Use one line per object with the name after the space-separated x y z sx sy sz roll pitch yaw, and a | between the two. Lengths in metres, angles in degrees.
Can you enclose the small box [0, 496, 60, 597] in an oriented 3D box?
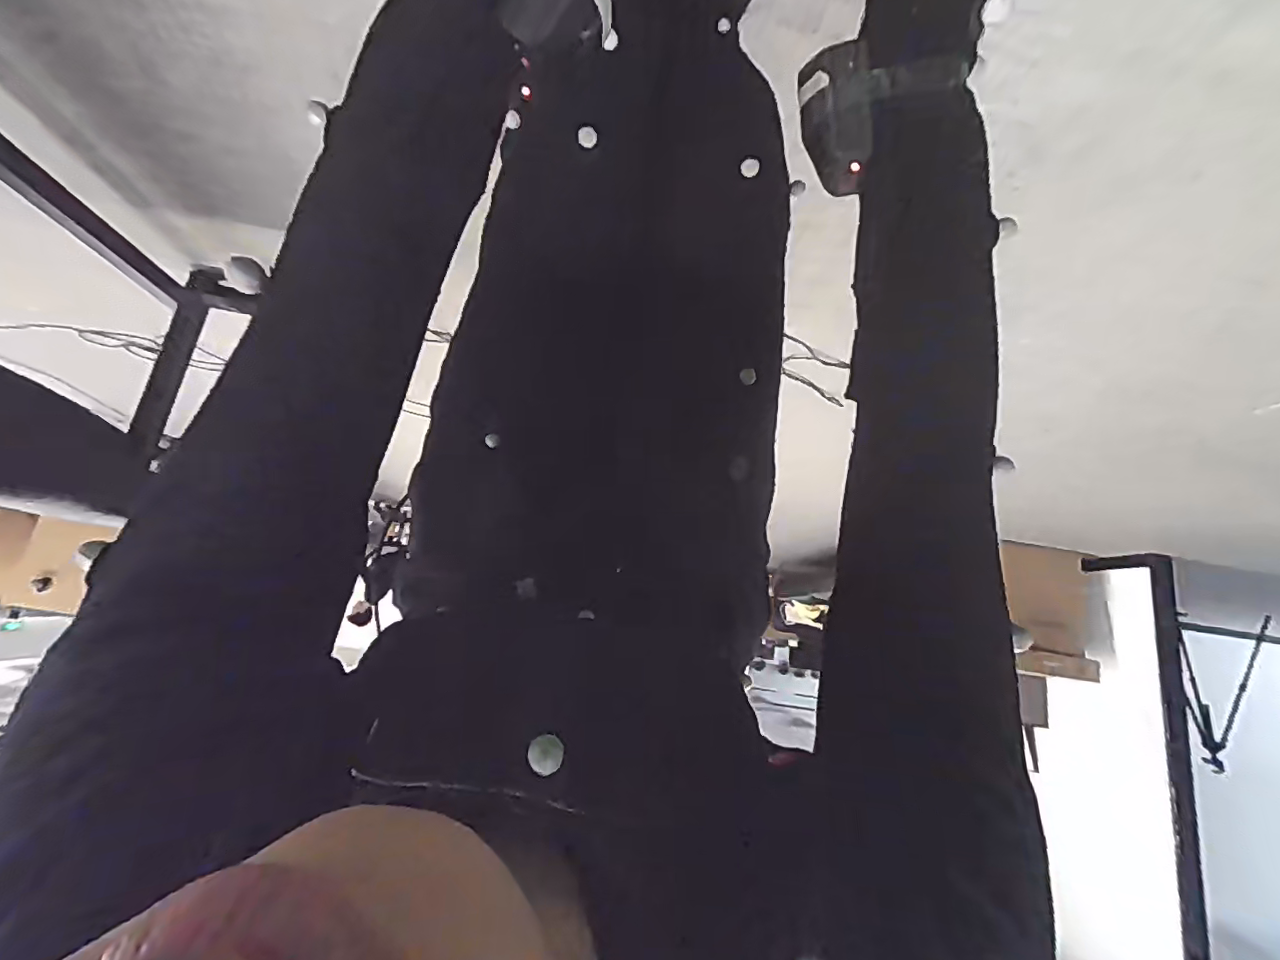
-1.132 0.104 0.905 0.179 0.176 0.168 11 166 -9 | small box
